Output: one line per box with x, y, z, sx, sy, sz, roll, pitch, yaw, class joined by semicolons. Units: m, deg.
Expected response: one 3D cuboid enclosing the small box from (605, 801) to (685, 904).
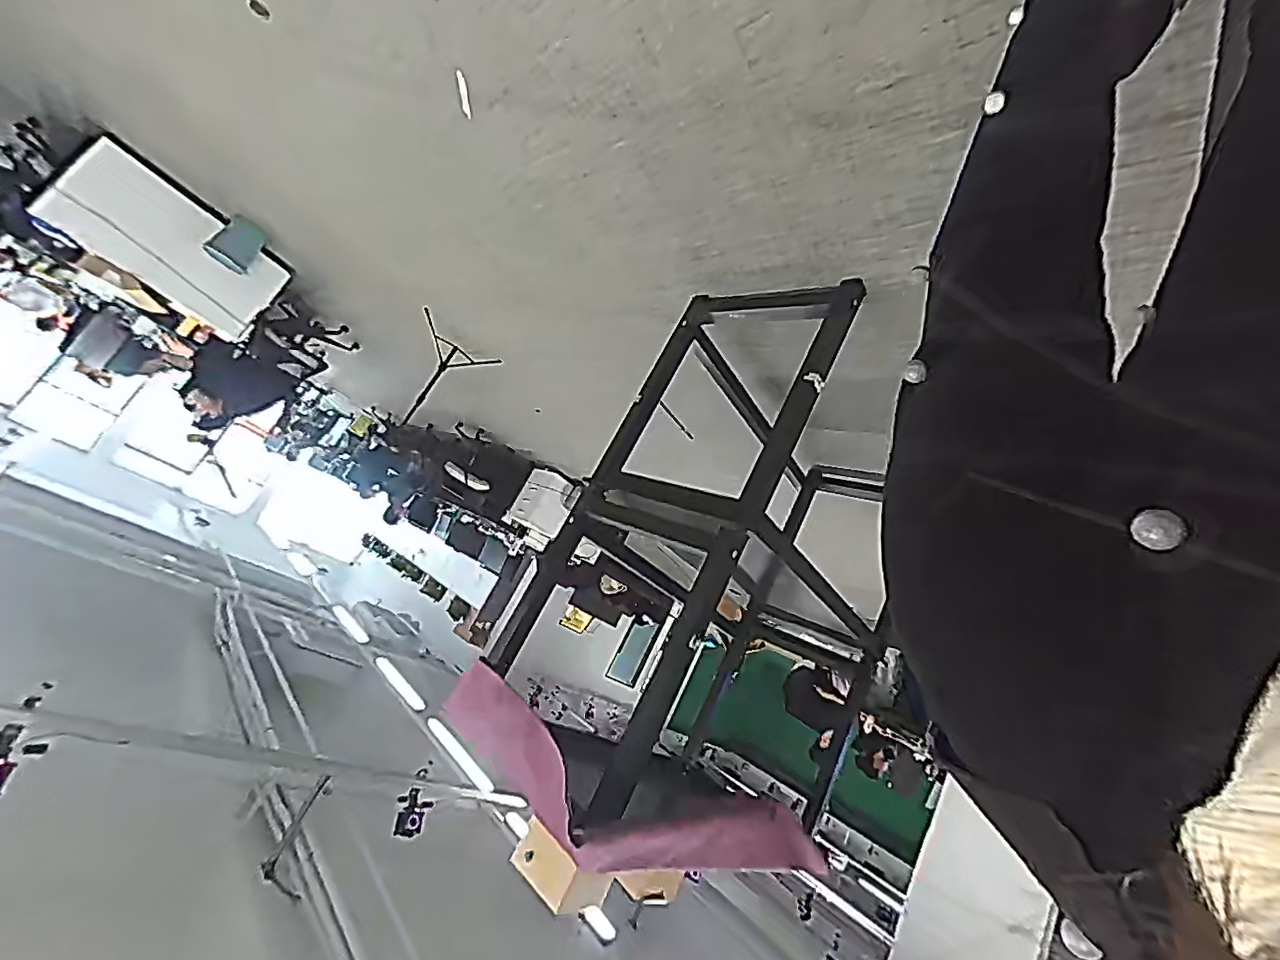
0.002;1.022;1.490;0.179;0.176;0.168;12;158;50;small box

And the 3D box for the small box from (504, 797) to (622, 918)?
-0.173;0.864;1.257;0.179;0.176;0.168;16;162;42;small box
